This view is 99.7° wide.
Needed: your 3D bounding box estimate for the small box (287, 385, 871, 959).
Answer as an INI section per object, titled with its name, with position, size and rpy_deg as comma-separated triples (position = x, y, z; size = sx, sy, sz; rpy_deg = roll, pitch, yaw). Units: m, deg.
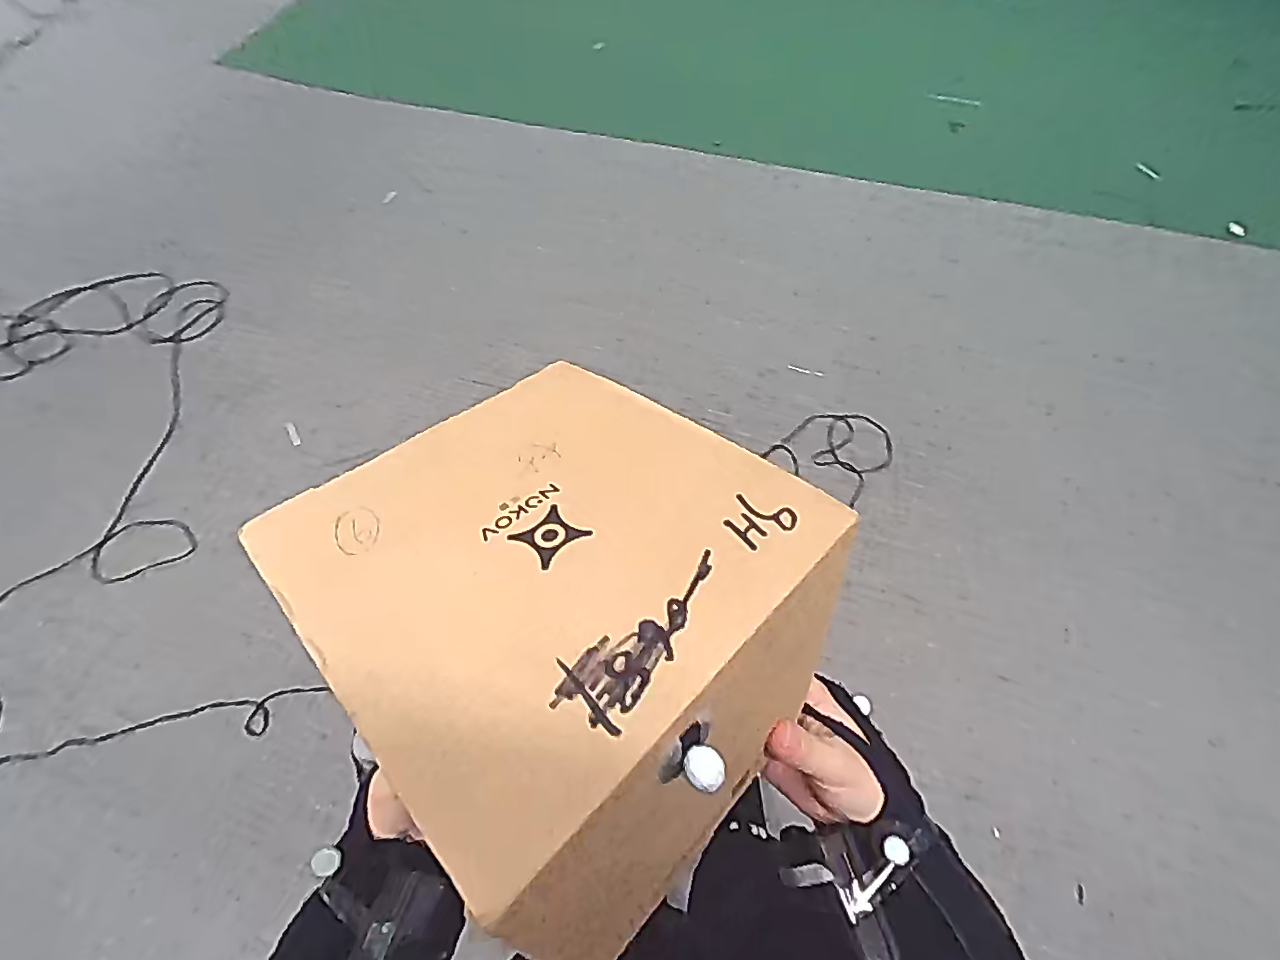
[small box]
position = -0.023, 0.085, 0.266
size = 0.179, 0.176, 0.168
rpy_deg = 32, 55, 34
